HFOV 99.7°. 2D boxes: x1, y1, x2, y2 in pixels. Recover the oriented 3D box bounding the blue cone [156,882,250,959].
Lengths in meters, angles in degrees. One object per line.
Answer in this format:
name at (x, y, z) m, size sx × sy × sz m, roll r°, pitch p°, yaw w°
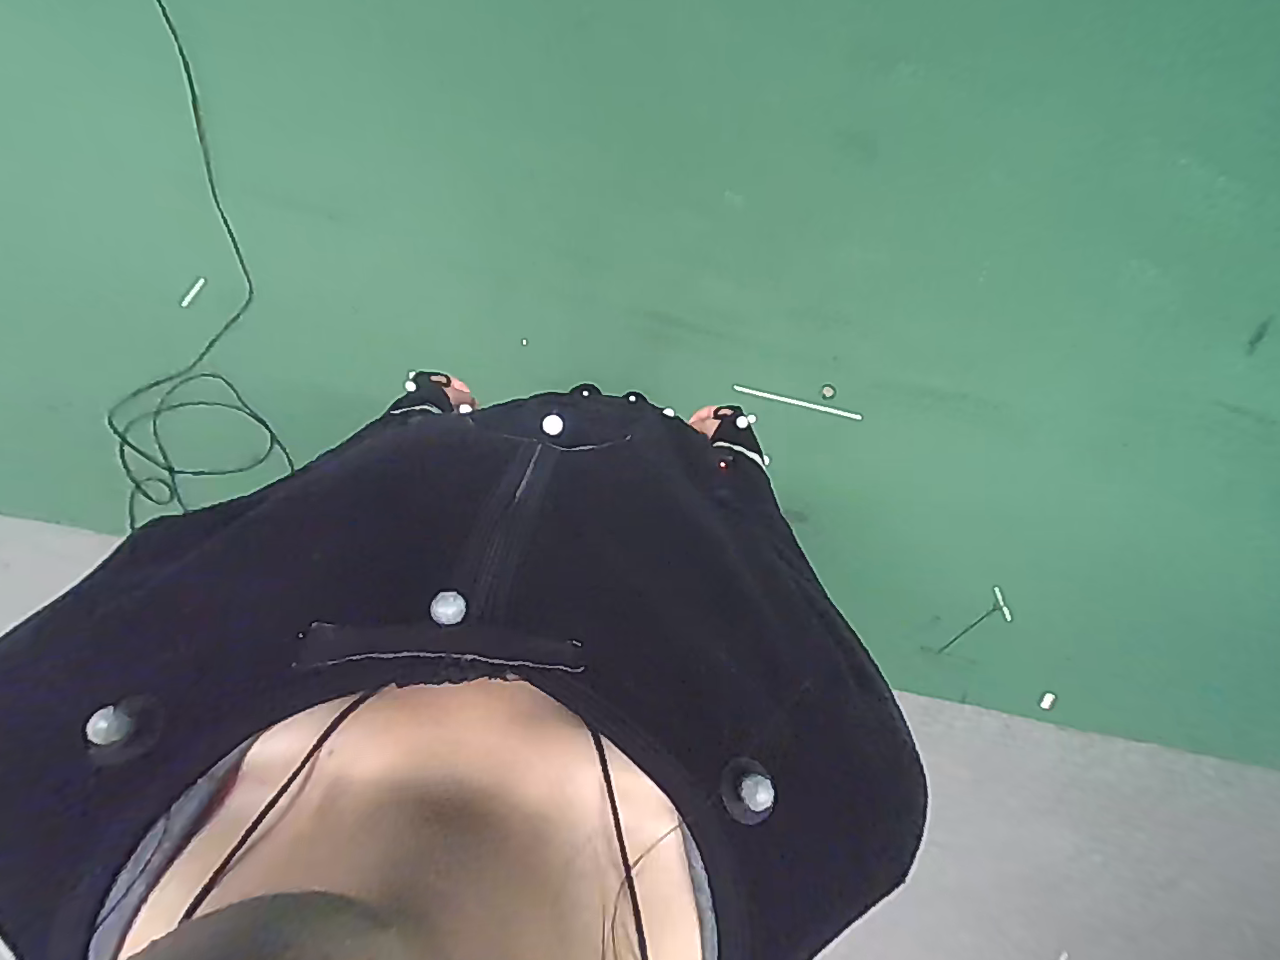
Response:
blue cone at (-1.301, 1.361, 1.486) m, size 0.193 × 0.380 × 0.192 m, roll -30°, pitch 101°, yaw 4°
